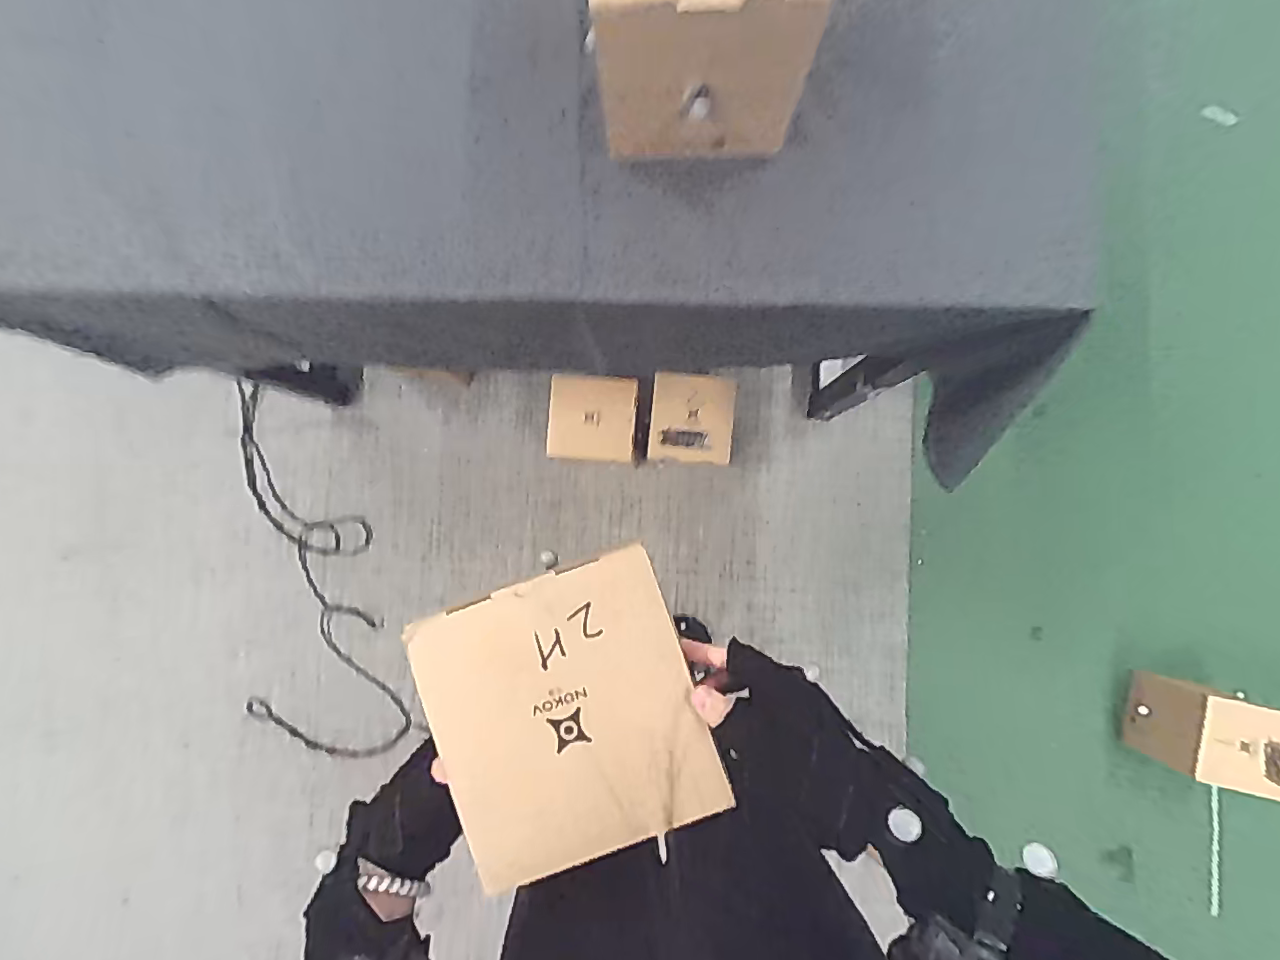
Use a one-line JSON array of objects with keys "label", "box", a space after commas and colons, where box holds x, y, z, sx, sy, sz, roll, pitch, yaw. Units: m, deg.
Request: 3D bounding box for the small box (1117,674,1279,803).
[{"label": "small box", "box": [1.136, 0.511, 1.095, 0.179, 0.176, 0.168, 13, 87, 3]}]

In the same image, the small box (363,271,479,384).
[{"label": "small box", "box": [-0.467, -0.325, 1.180, 0.168, 0.176, 0.179, 10, 87, 3]}]

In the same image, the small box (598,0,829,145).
[{"label": "small box", "box": [0.056, -0.407, 0.445, 0.168, 0.176, 0.179, 0, 87, 1]}]
